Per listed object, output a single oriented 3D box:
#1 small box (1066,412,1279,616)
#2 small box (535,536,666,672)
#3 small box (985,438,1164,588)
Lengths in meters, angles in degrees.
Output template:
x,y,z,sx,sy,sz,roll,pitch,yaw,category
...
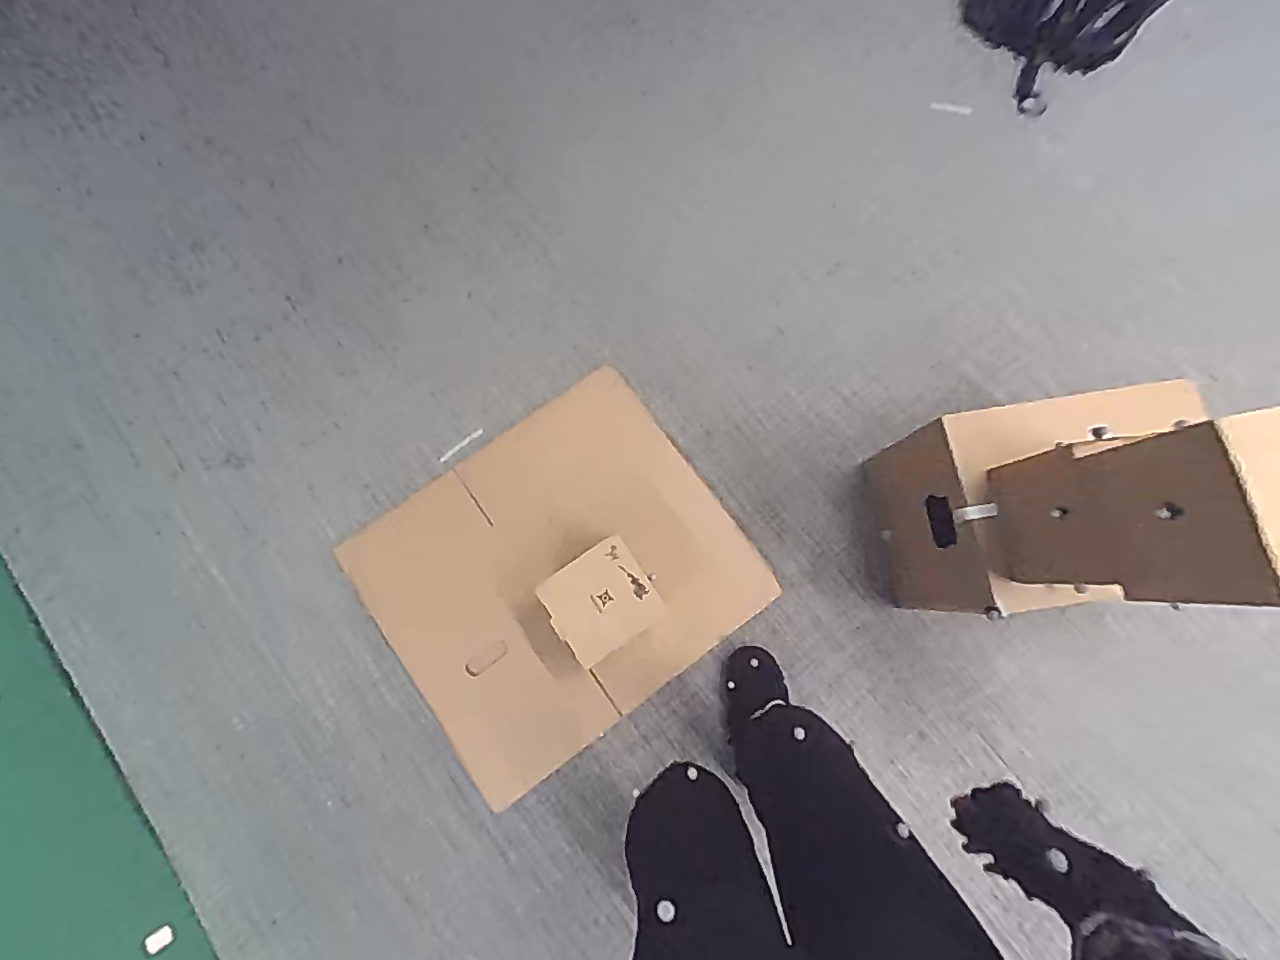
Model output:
x,y,z,sx,sy,sz,roll,pitch,yaw,category
0.615,0.034,0.575,0.168,0.176,0.179,-13,80,-1,small box
-0.063,0.230,1.007,0.179,0.176,0.168,-37,78,-5,small box
0.611,0.052,0.739,0.168,0.176,0.179,-6,80,0,small box
